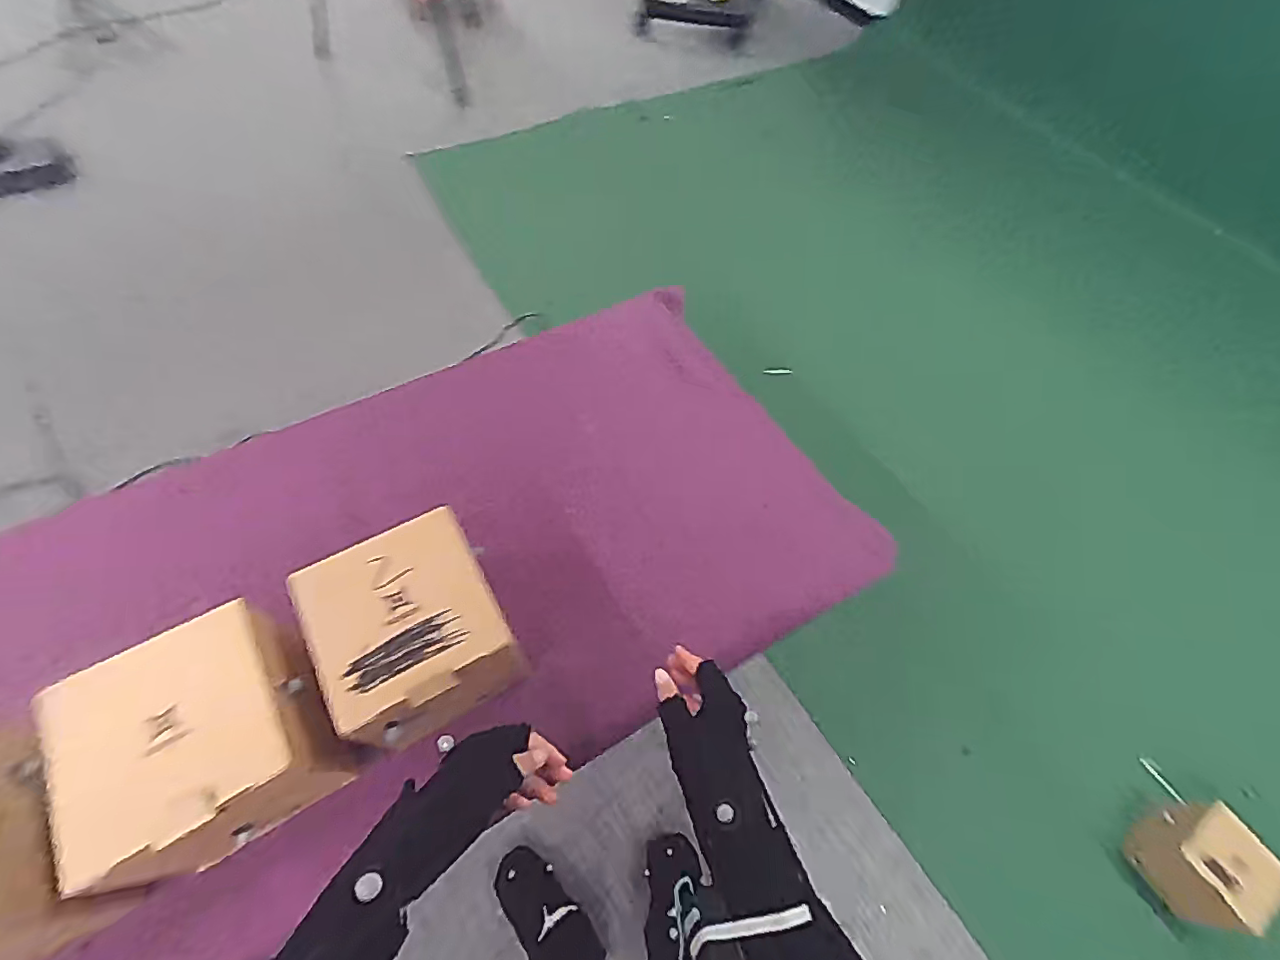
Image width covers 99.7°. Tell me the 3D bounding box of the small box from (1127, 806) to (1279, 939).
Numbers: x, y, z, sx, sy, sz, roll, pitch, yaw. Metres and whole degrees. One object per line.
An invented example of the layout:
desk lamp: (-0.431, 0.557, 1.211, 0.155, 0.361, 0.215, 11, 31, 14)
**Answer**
small box: (1.239, 0.849, 1.187, 0.179, 0.176, 0.168, -27, 66, -20)
